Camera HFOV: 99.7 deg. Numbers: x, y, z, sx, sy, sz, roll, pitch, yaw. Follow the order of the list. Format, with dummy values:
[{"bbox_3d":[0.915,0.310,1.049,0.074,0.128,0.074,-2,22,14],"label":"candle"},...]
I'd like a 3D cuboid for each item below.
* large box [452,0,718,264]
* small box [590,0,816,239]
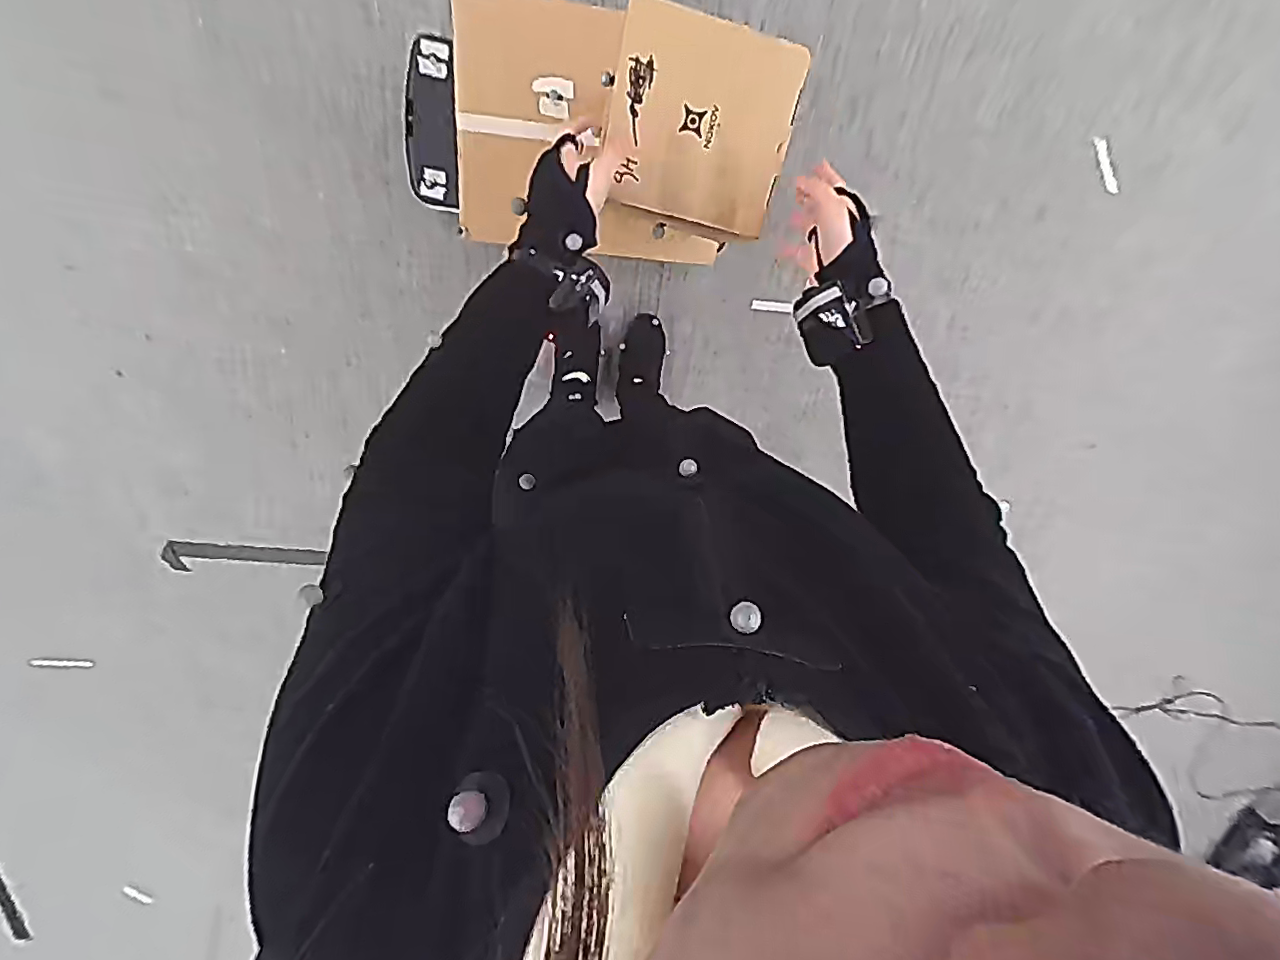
[{"bbox_3d":[-0.076,-0.556,0.928,0.408,0.320,0.320,3,112,-7],"label":"large box"},{"bbox_3d":[0.050,-0.366,0.577,0.179,0.176,0.168,10,111,-12],"label":"small box"}]
